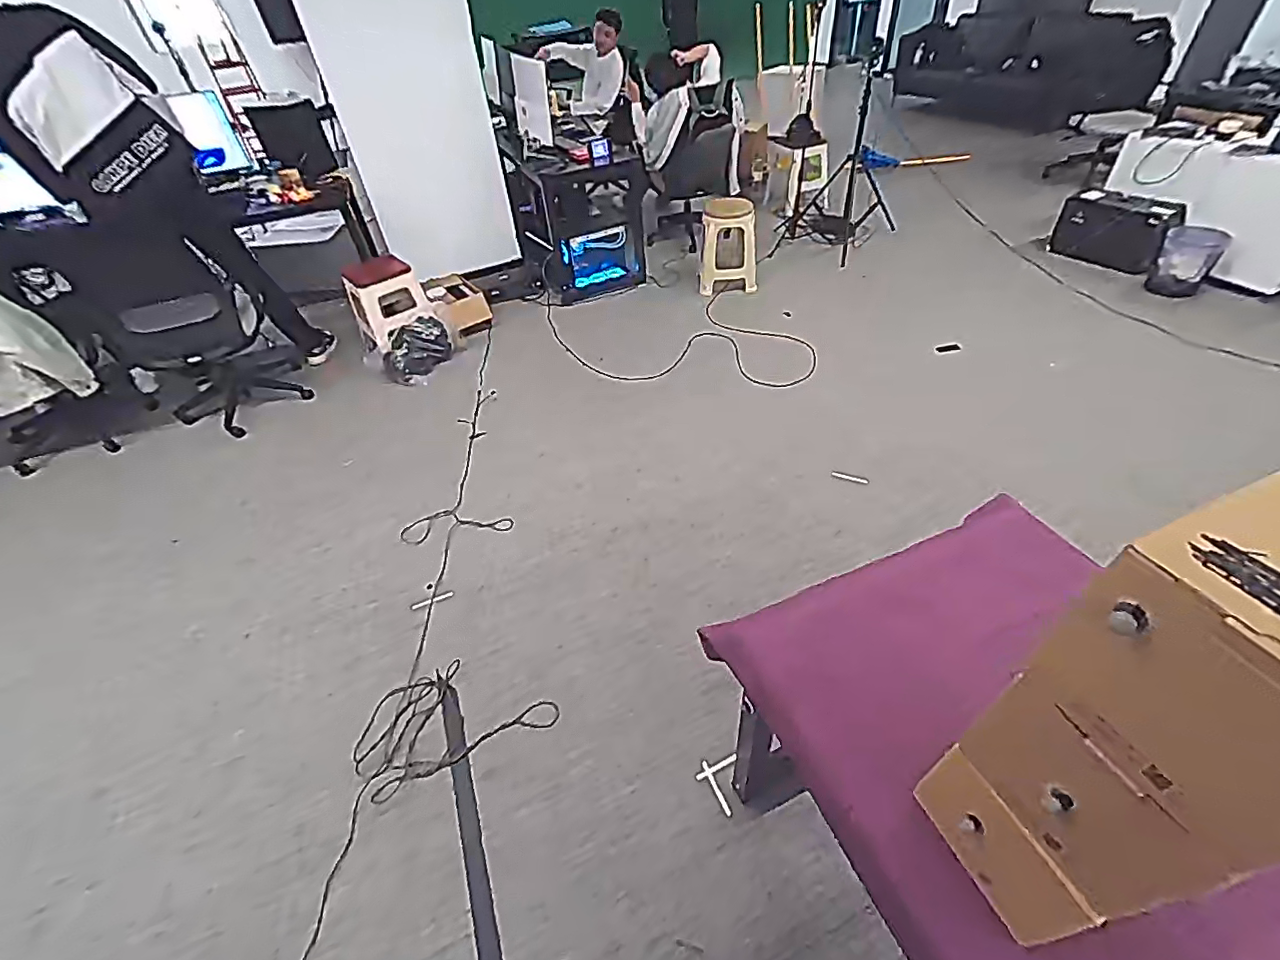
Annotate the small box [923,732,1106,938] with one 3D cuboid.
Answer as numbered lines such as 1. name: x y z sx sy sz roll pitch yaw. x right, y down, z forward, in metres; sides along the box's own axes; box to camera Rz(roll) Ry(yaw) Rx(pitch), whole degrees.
1. small box: 0.451 0.373 0.607 0.179 0.176 0.168 -18 45 -14

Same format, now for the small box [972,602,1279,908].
1. small box: 0.446 0.251 0.497 0.179 0.176 0.168 -20 46 -15
